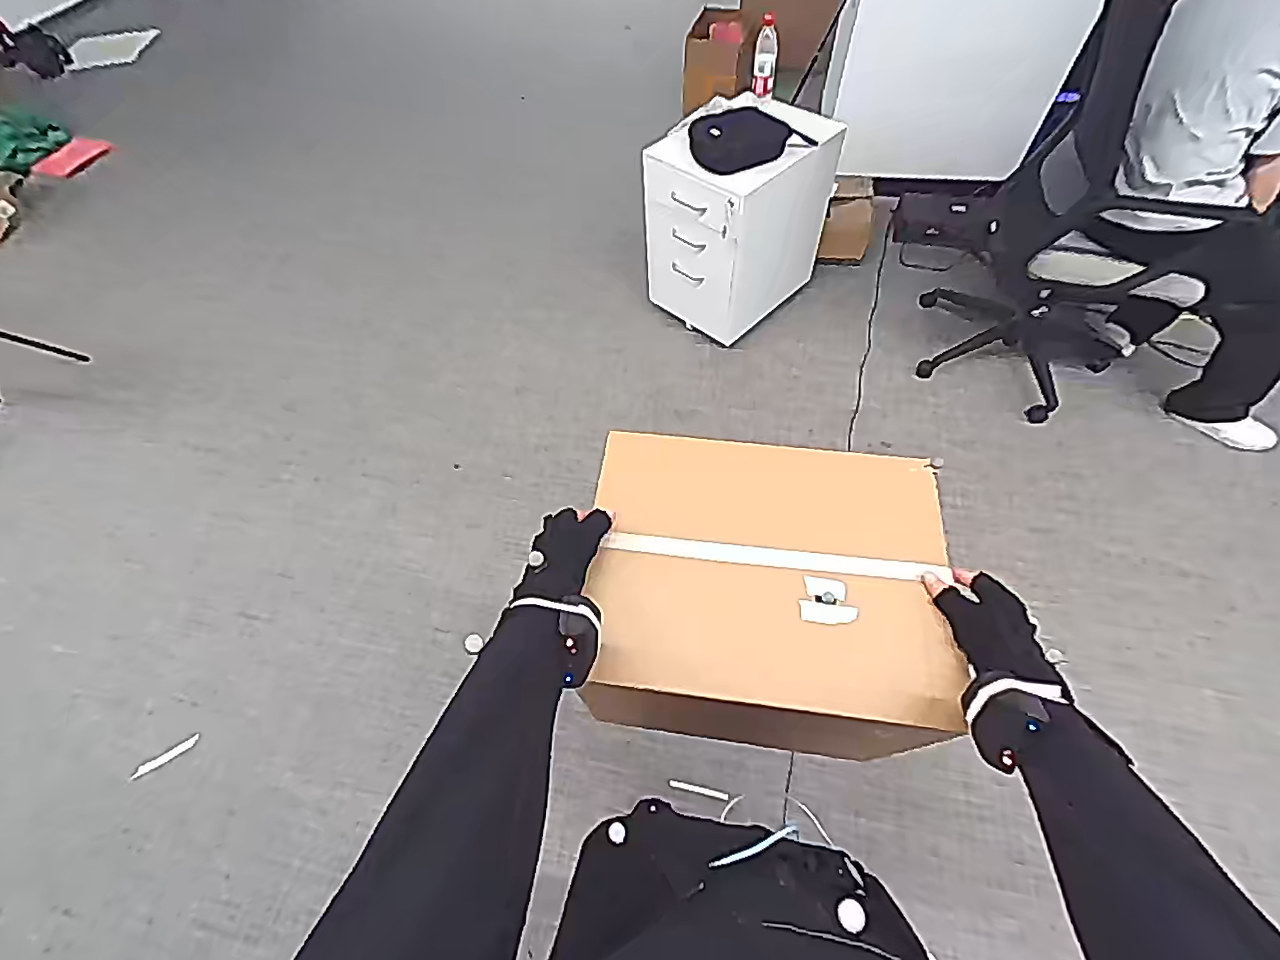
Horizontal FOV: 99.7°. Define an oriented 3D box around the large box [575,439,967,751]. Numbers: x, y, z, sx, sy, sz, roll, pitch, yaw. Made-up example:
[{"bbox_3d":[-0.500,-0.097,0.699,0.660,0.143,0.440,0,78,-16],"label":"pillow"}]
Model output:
[{"bbox_3d":[0.149,0.168,0.749,0.408,0.320,0.320,6,60,6],"label":"large box"}]
